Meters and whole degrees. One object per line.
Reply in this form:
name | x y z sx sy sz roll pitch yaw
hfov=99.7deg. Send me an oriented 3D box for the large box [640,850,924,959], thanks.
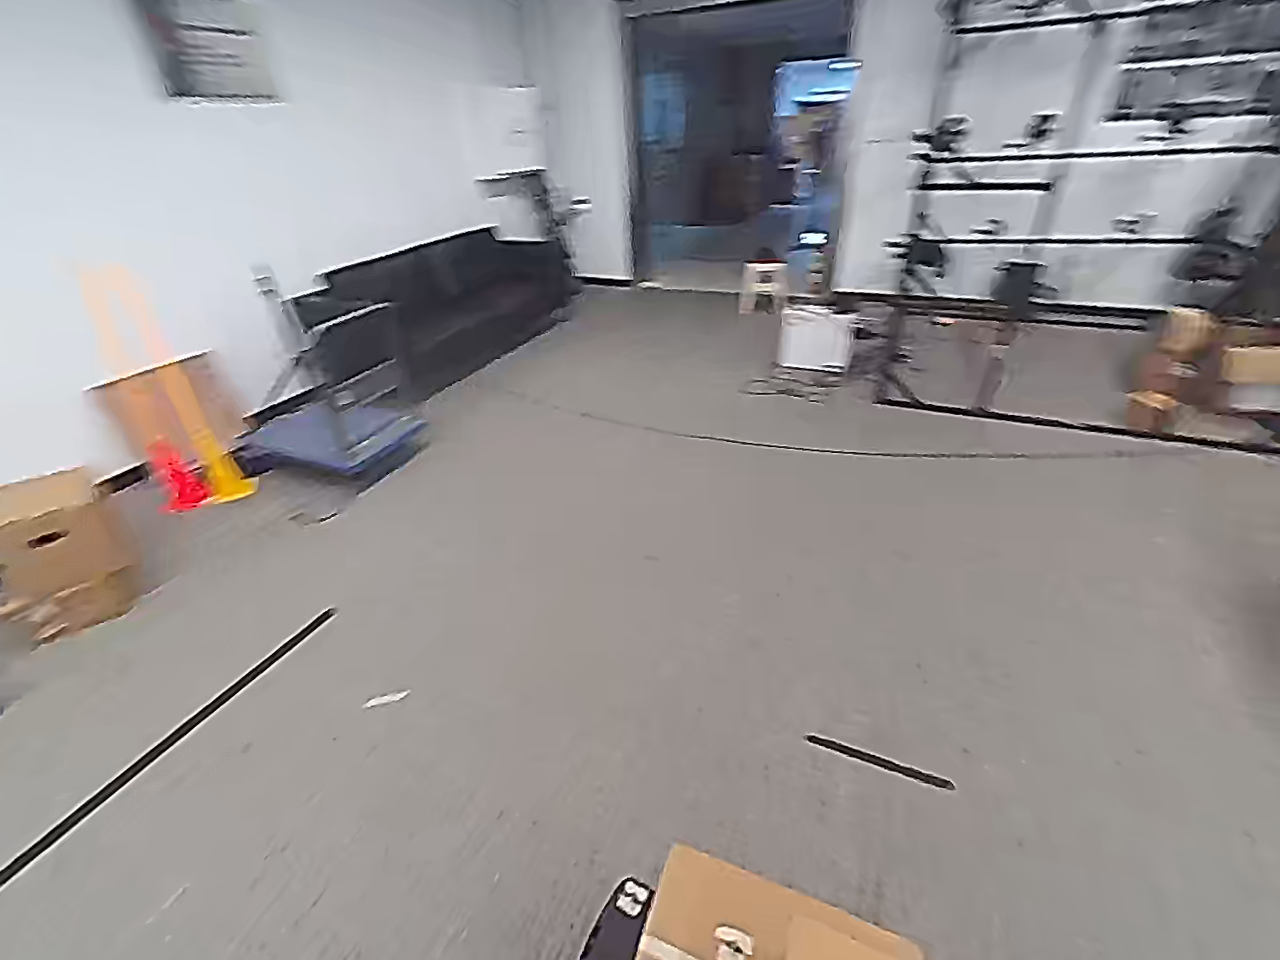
large box | 0.199 0.879 0.844 0.408 0.320 0.320 10 34 21
